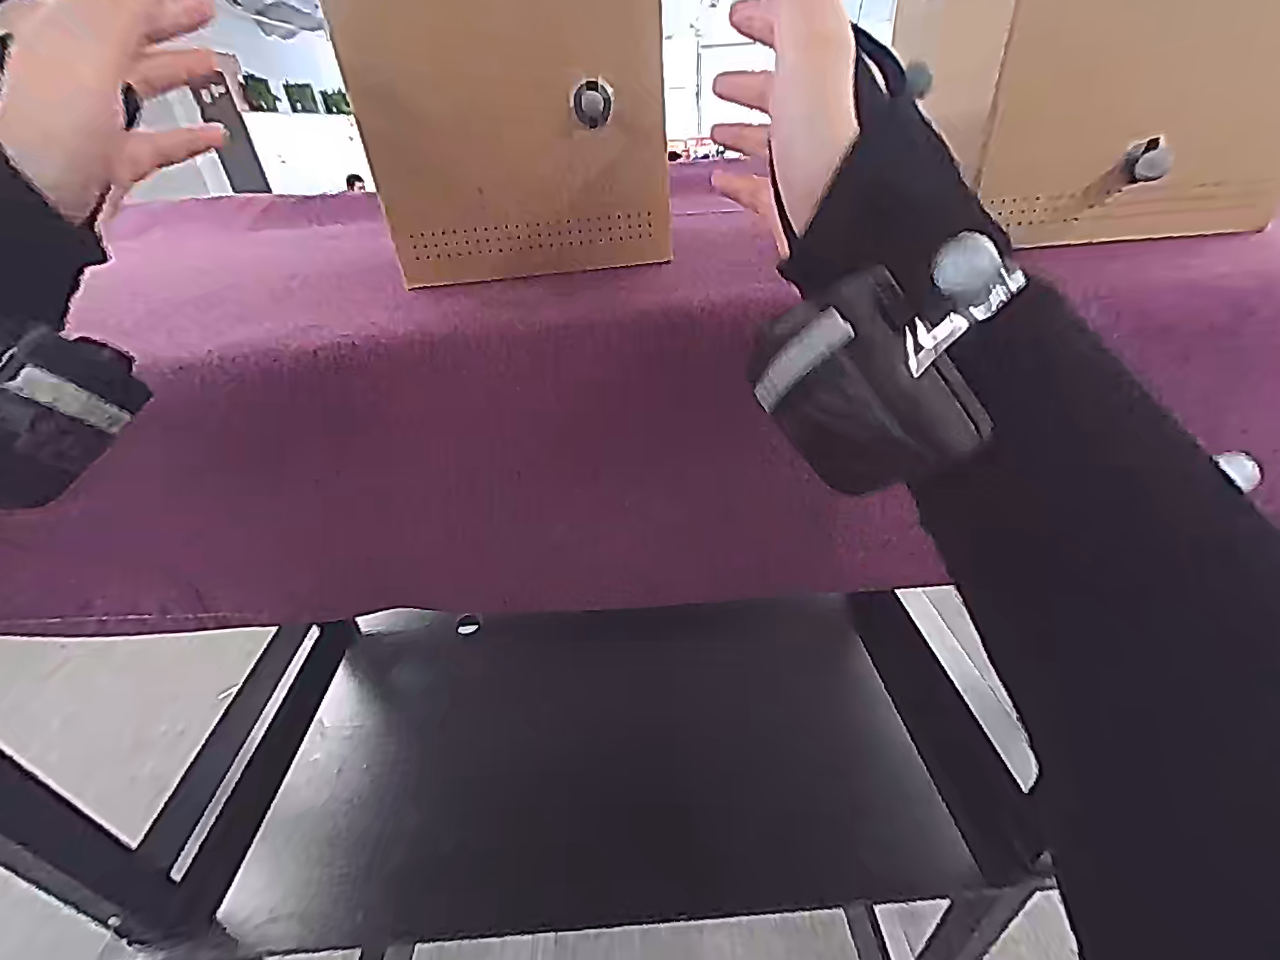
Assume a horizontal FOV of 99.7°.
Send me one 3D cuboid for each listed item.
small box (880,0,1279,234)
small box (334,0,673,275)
[{"bbox_3d":[0.274,-0.258,0.333,0.179,0.176,0.168,-3,32,3],"label":"small box"},{"bbox_3d":[-0.074,-0.250,0.370,0.179,0.176,0.168,-8,33,-4],"label":"small box"}]
